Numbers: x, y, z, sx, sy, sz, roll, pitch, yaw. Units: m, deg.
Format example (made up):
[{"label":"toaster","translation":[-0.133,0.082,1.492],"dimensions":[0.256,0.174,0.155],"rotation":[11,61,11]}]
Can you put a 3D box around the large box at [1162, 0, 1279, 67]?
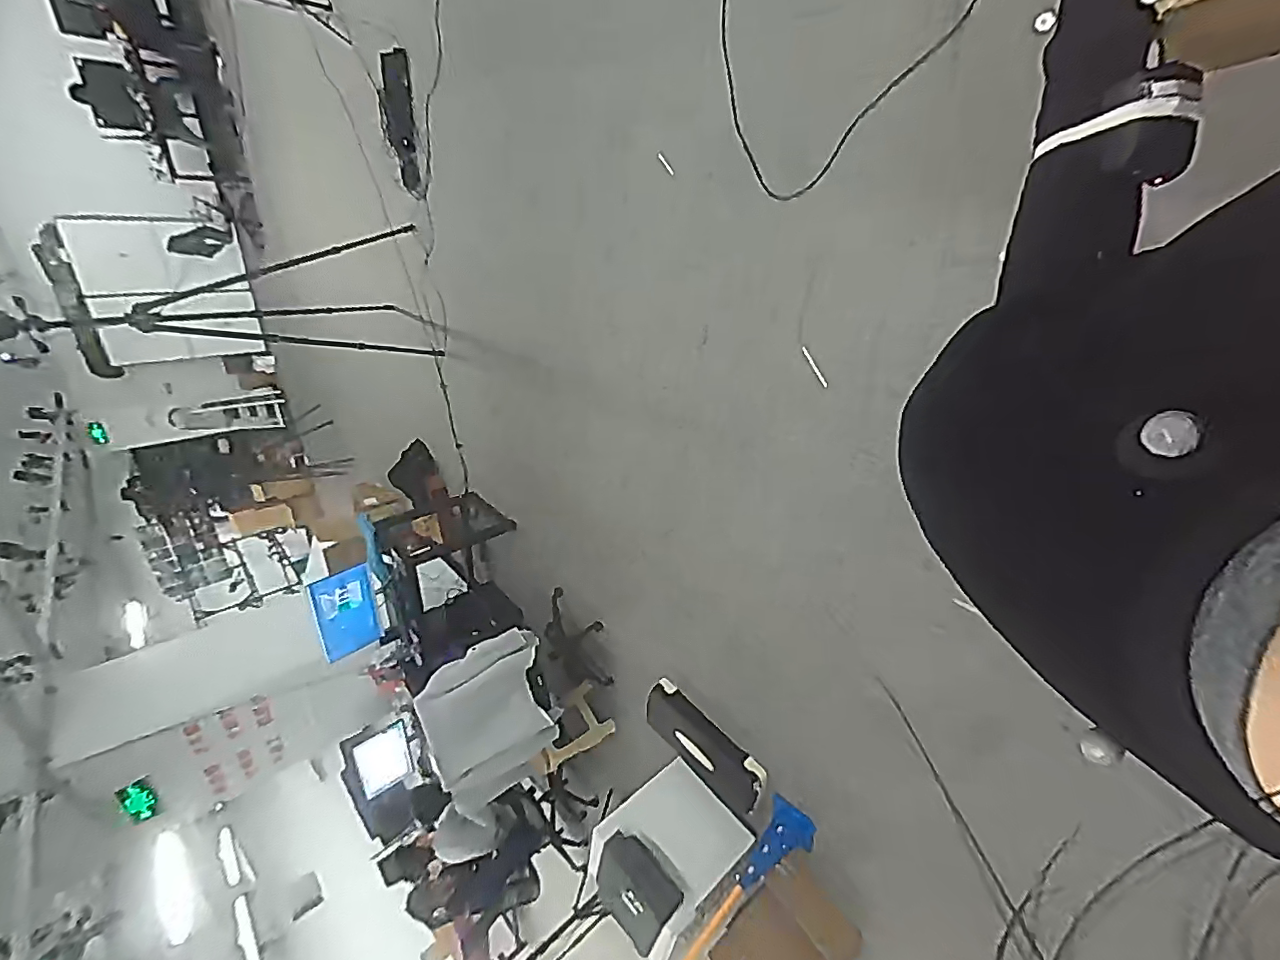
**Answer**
[{"label":"large box","translation":[0.558,-0.476,0.263],"dimensions":[0.408,0.320,0.320],"rotation":[9,116,43]}]
